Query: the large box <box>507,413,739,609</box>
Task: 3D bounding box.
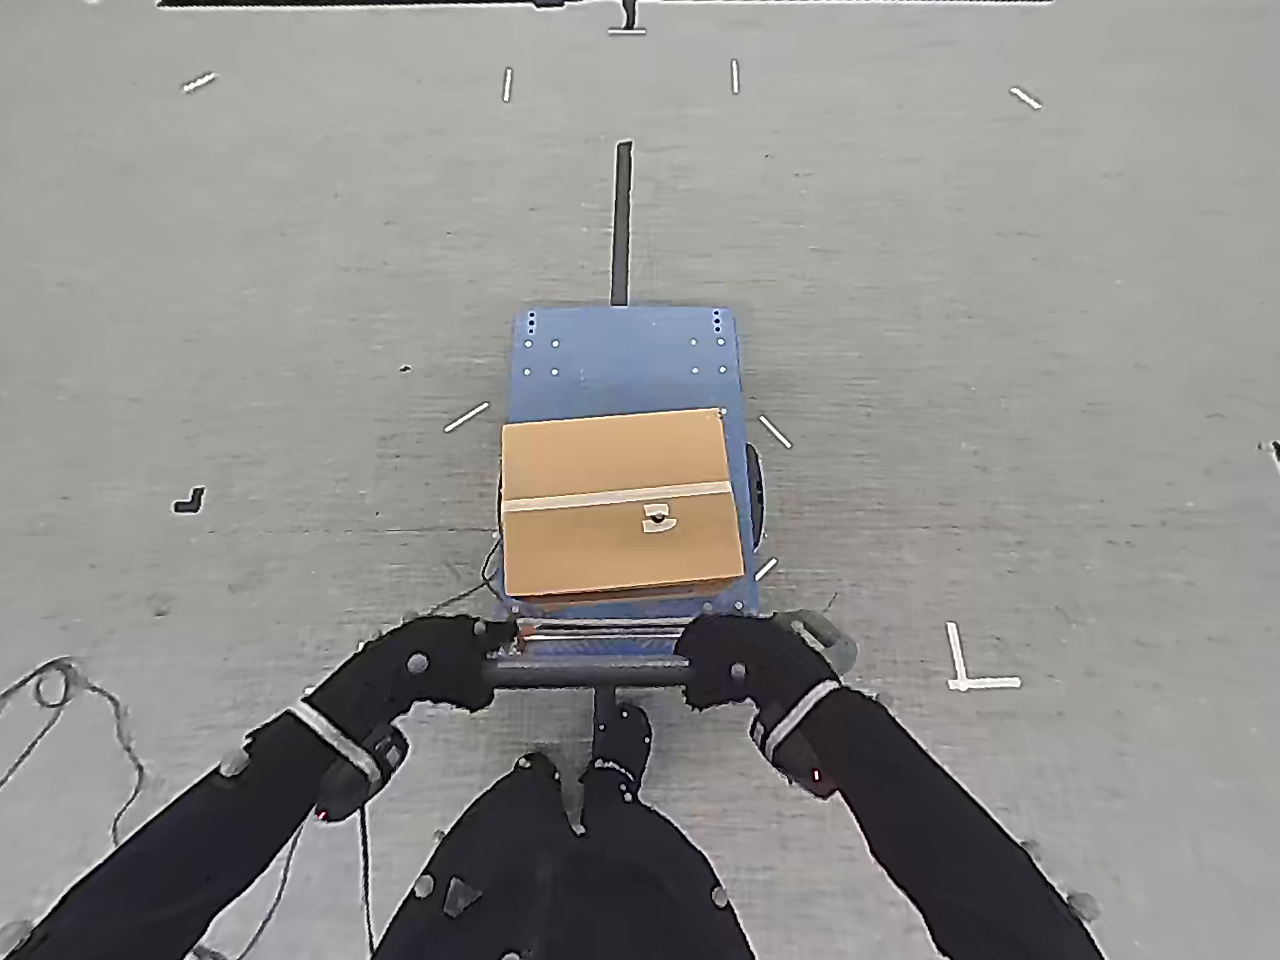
[{"bbox_3d":[-0.042,0.080,1.114,0.408,0.320,0.320,-4,73,-3],"label":"large box"}]
